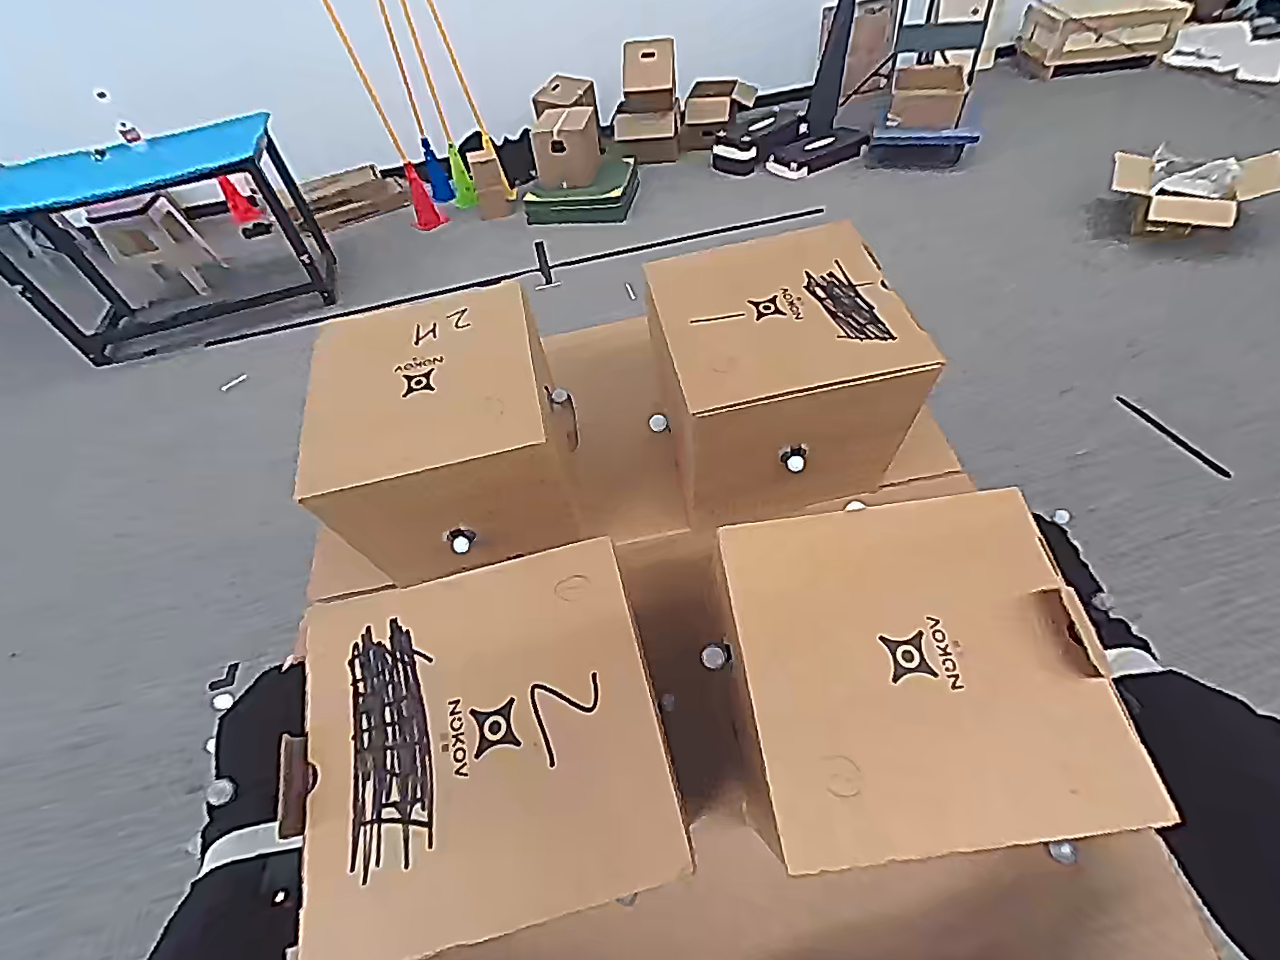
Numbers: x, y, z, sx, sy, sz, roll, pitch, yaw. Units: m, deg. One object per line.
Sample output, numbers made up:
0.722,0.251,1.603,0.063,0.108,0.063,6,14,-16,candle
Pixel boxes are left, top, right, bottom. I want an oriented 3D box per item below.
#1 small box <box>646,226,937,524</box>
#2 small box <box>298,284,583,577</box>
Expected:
0.108,-0.081,0.465,0.179,0.176,0.168,-11,58,0,small box
-0.151,-0.031,0.462,0.168,0.176,0.179,-12,57,-2,small box
